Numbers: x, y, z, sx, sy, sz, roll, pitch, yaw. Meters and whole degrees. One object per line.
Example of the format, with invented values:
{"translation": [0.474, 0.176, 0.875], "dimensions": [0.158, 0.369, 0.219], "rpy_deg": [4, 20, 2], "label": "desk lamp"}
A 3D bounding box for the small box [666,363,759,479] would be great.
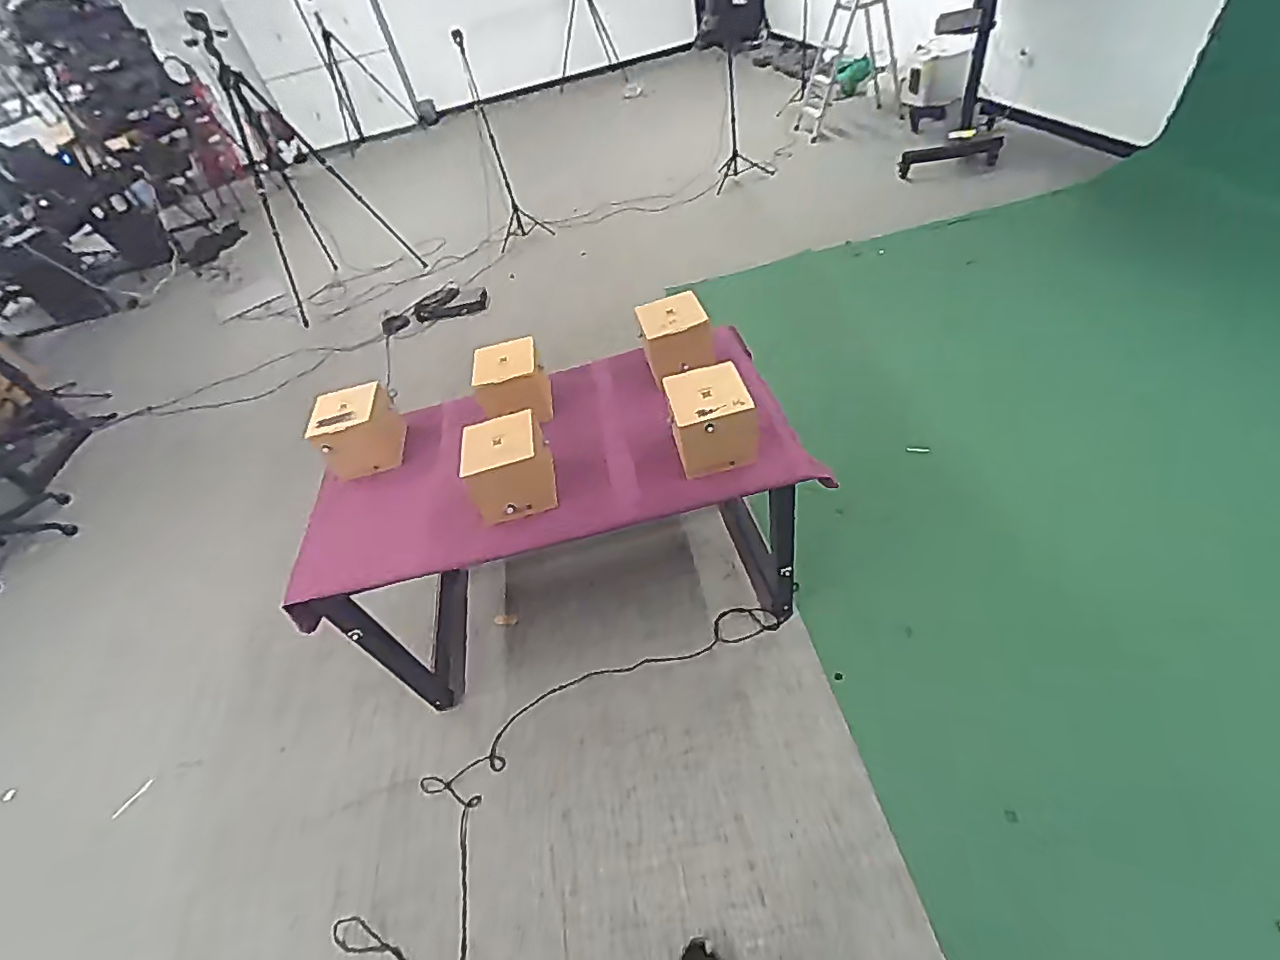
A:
{"translation": [0.164, -0.131, 1.226], "dimensions": [0.168, 0.176, 0.179], "rpy_deg": [-15, 46, 3], "label": "small box"}

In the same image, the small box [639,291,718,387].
{"translation": [0.106, -0.379, 1.473], "dimensions": [0.168, 0.176, 0.179], "rpy_deg": [-18, 46, 3], "label": "small box"}

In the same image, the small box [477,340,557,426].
{"translation": [-0.332, -0.254, 1.487], "dimensions": [0.168, 0.176, 0.179], "rpy_deg": [-14, 48, 2], "label": "small box"}

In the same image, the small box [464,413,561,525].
{"translation": [-0.291, -0.024, 1.259], "dimensions": [0.168, 0.176, 0.179], "rpy_deg": [-16, 45, 2], "label": "small box"}
